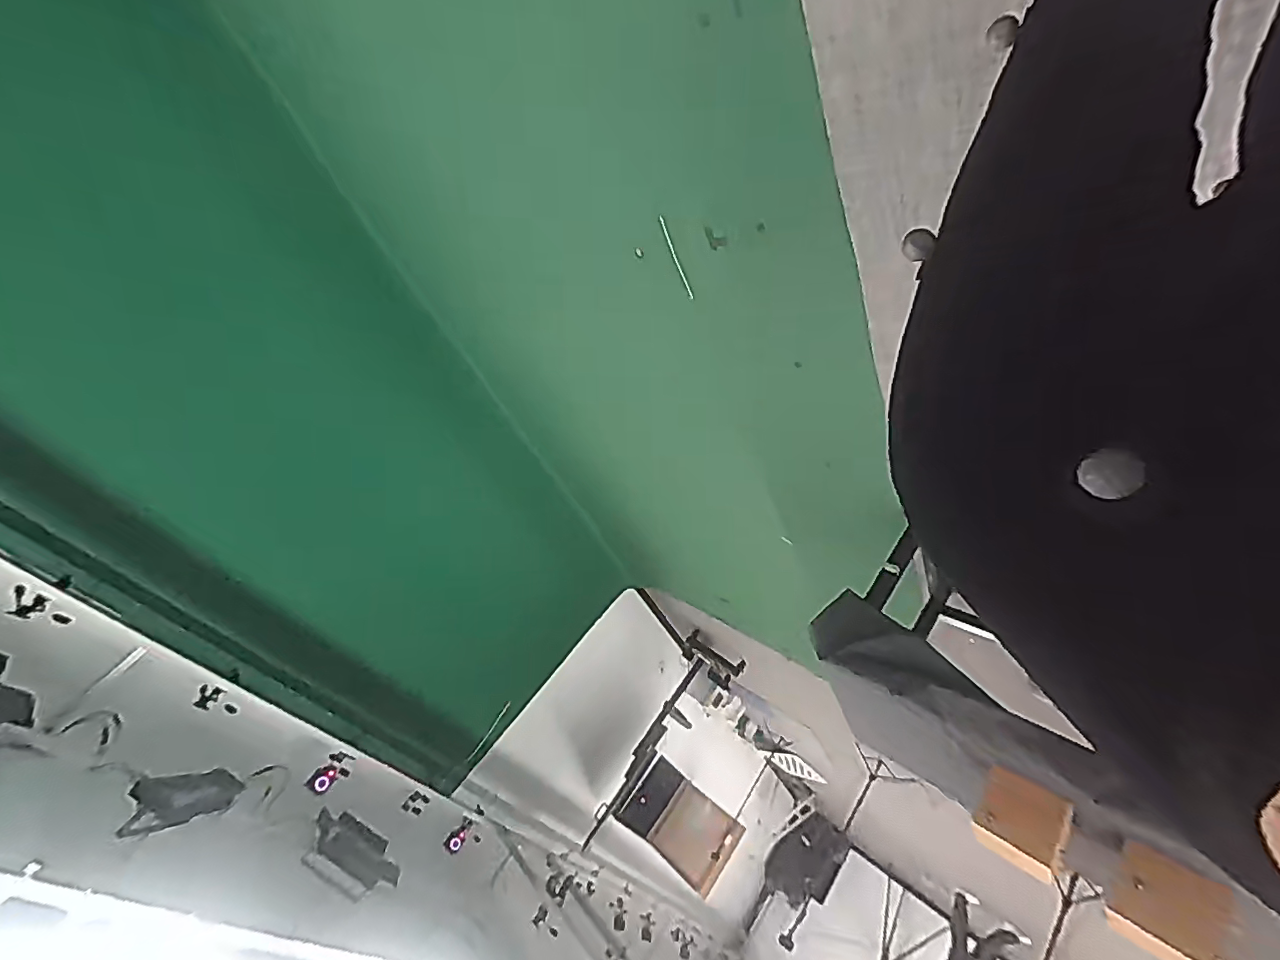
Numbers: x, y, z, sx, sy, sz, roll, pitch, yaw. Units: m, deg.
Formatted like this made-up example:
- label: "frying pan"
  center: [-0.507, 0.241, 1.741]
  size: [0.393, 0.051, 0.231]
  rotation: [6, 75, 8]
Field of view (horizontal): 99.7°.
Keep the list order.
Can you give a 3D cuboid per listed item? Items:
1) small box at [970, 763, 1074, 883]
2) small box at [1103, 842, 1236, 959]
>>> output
- label: "small box"
  center: [0.972, 0.864, 1.372]
  size: [0.179, 0.176, 0.168]
  rotation: [18, 149, 48]
- label: "small box"
  center: [1.157, 0.937, 1.188]
  size: [0.179, 0.176, 0.168]
  rotation: [15, 147, 49]
